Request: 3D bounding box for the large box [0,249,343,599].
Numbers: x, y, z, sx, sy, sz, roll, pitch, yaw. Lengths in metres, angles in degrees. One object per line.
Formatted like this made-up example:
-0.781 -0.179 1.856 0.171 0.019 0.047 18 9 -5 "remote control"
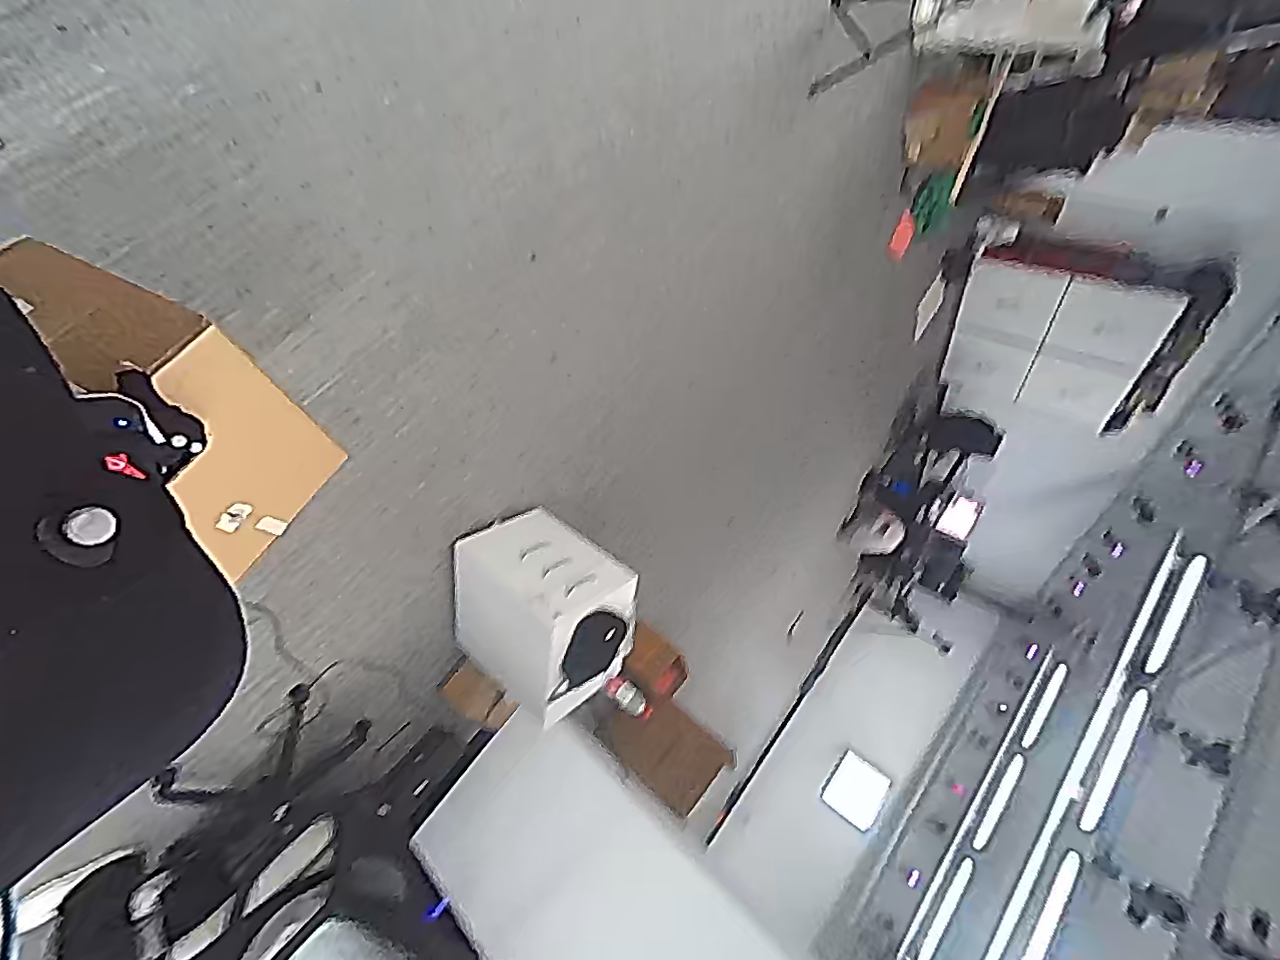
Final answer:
-0.755 -0.073 0.792 0.320 0.408 0.320 -61 161 -23 "large box"
